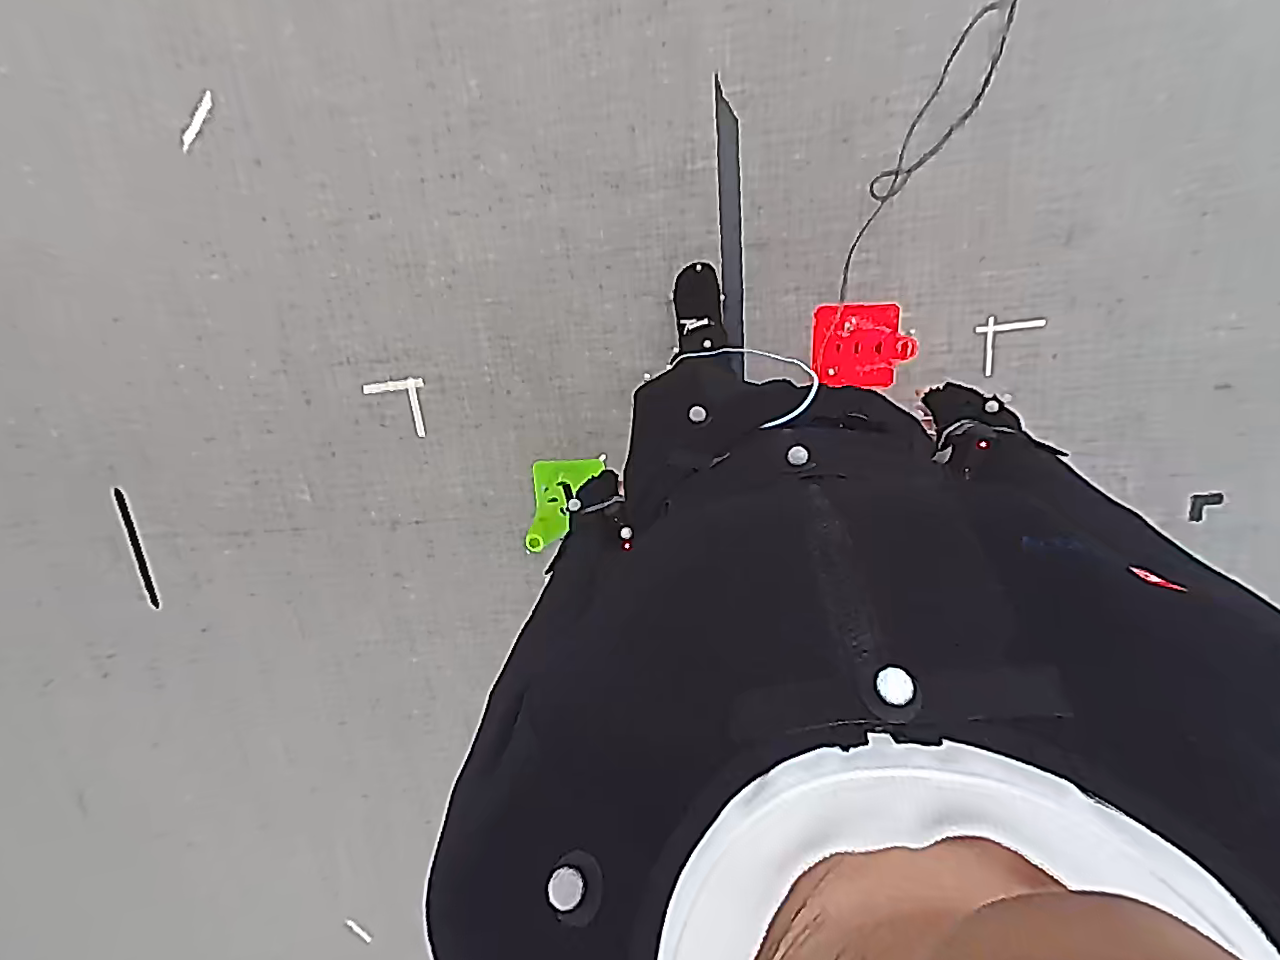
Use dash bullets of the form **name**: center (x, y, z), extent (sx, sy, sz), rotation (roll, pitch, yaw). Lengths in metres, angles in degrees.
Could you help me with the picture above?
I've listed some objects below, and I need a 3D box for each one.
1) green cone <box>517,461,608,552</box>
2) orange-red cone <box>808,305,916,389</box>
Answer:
- **green cone**: center (-0.212, 0.088, 1.303), extent (0.202, 0.368, 0.200), rotation (-2, 103, 8)
- **orange-red cone**: center (0.499, -0.276, 1.143), extent (0.199, 0.360, 0.198), rotation (1, 105, 5)
